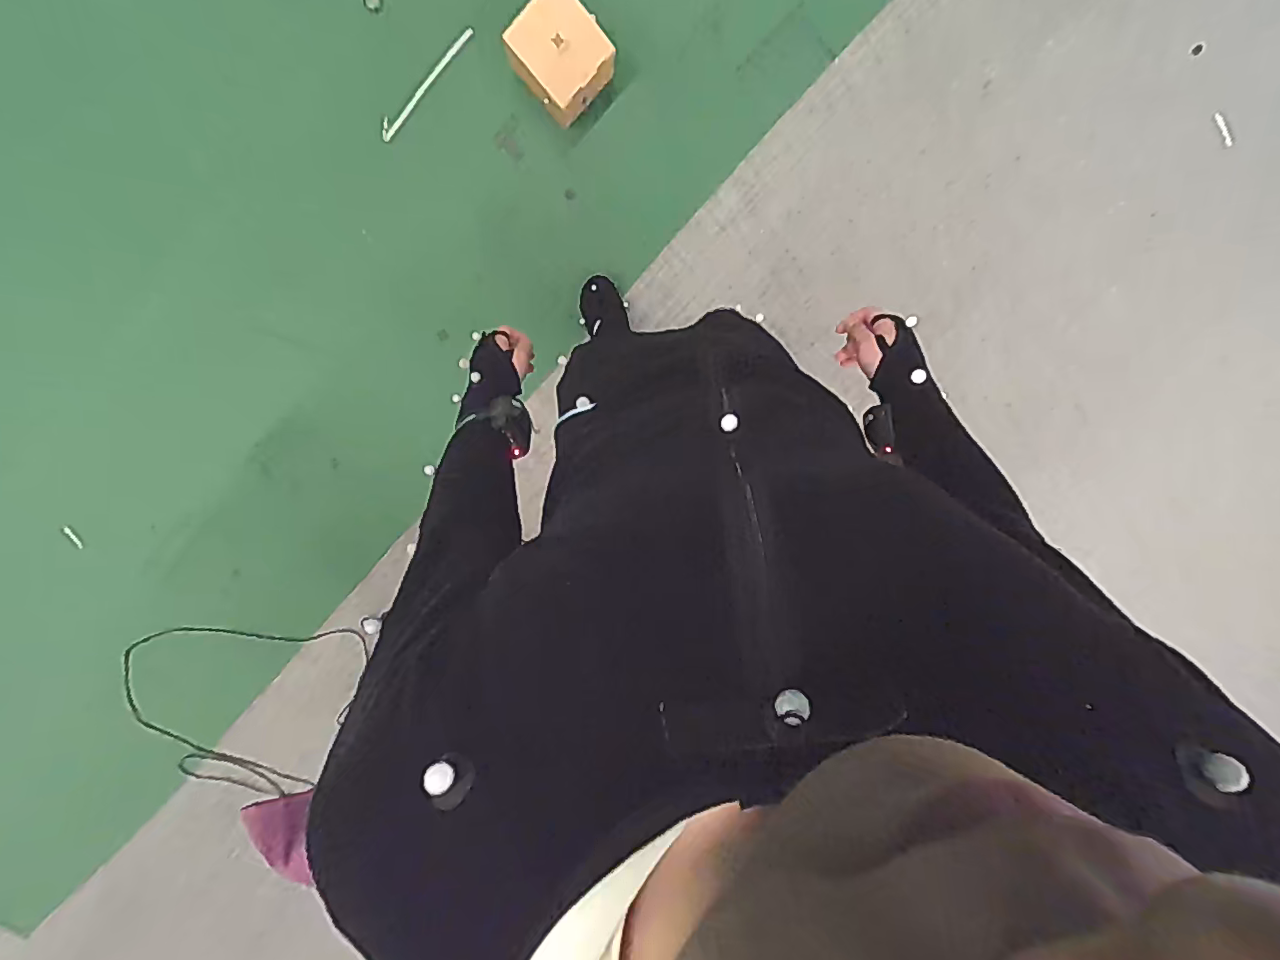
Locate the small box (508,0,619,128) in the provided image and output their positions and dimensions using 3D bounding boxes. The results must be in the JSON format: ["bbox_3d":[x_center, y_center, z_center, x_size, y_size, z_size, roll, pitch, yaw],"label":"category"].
[{"bbox_3d":[-0.168,-0.932,1.206,0.168,0.176,0.179,-44,109,10],"label":"small box"}]
